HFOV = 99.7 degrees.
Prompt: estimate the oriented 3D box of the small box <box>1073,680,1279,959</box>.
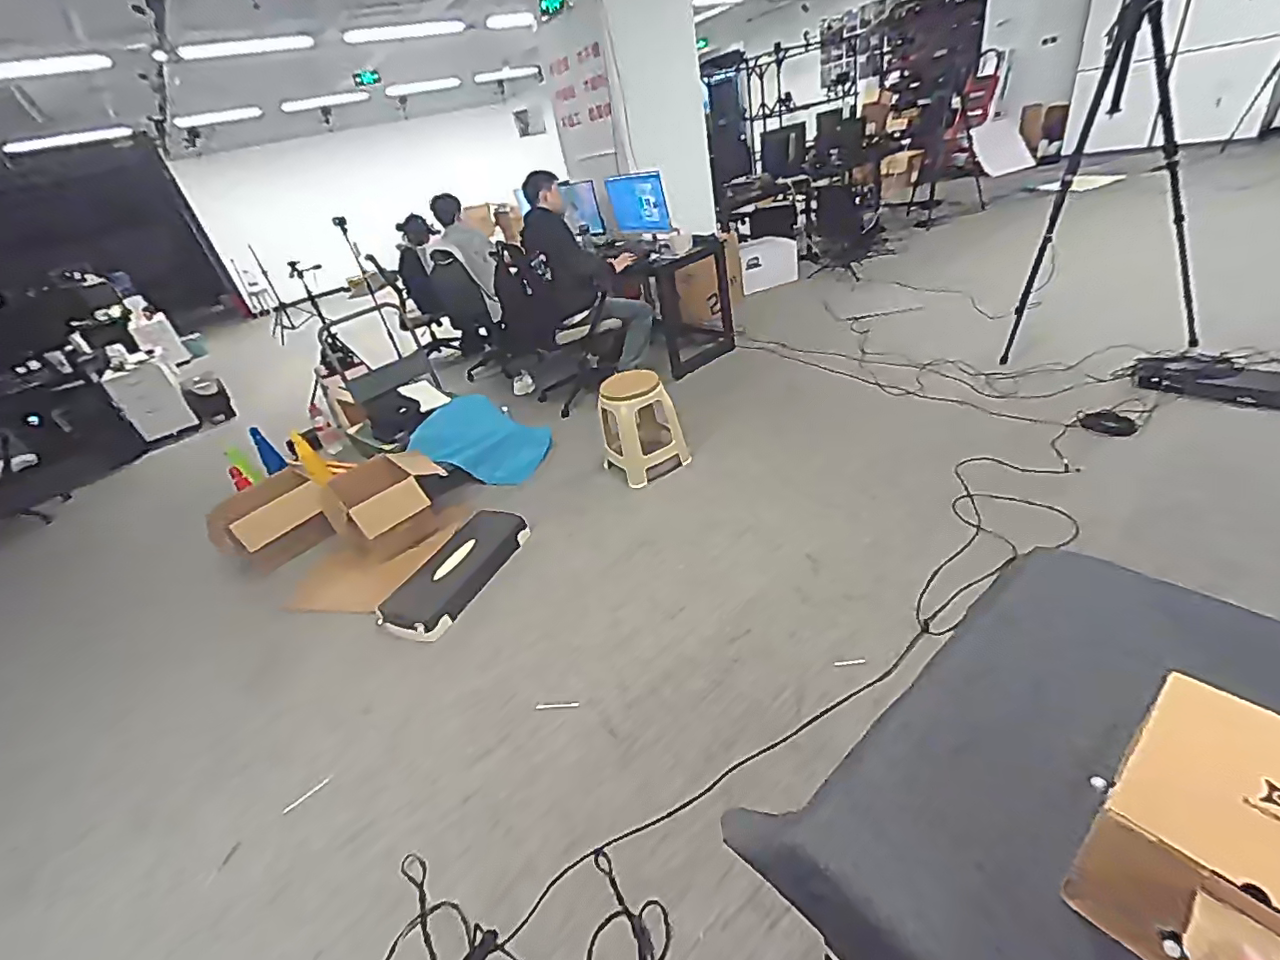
[{"bbox_3d":[0.497,0.315,0.446,0.179,0.176,0.168,-32,37,-27],"label":"small box"}]
